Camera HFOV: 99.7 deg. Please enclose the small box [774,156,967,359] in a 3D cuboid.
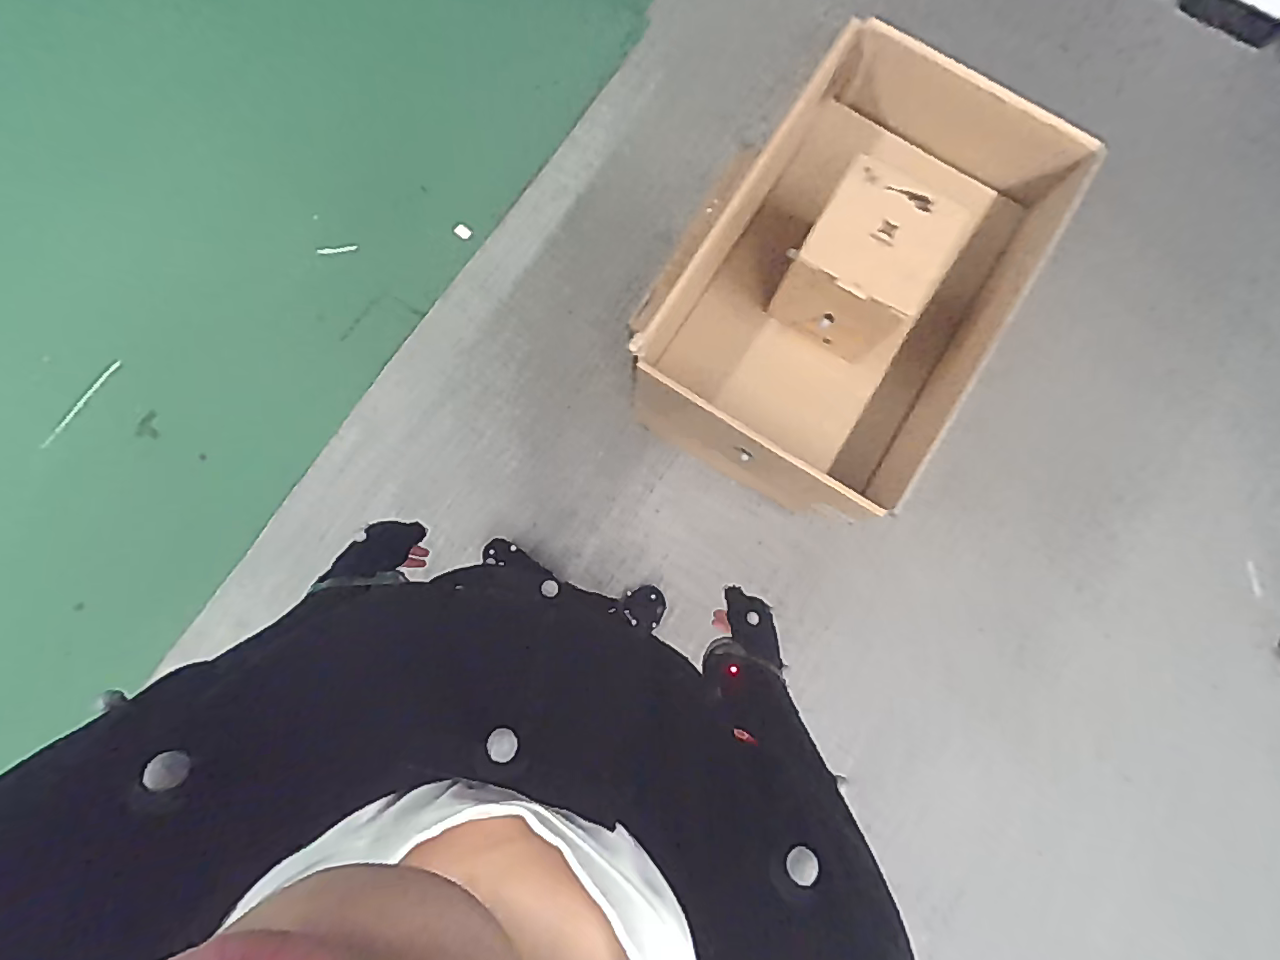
[{"bbox_3d":[0.311,-0.302,0.773,0.168,0.176,0.179,32,84,3],"label":"small box"}]
